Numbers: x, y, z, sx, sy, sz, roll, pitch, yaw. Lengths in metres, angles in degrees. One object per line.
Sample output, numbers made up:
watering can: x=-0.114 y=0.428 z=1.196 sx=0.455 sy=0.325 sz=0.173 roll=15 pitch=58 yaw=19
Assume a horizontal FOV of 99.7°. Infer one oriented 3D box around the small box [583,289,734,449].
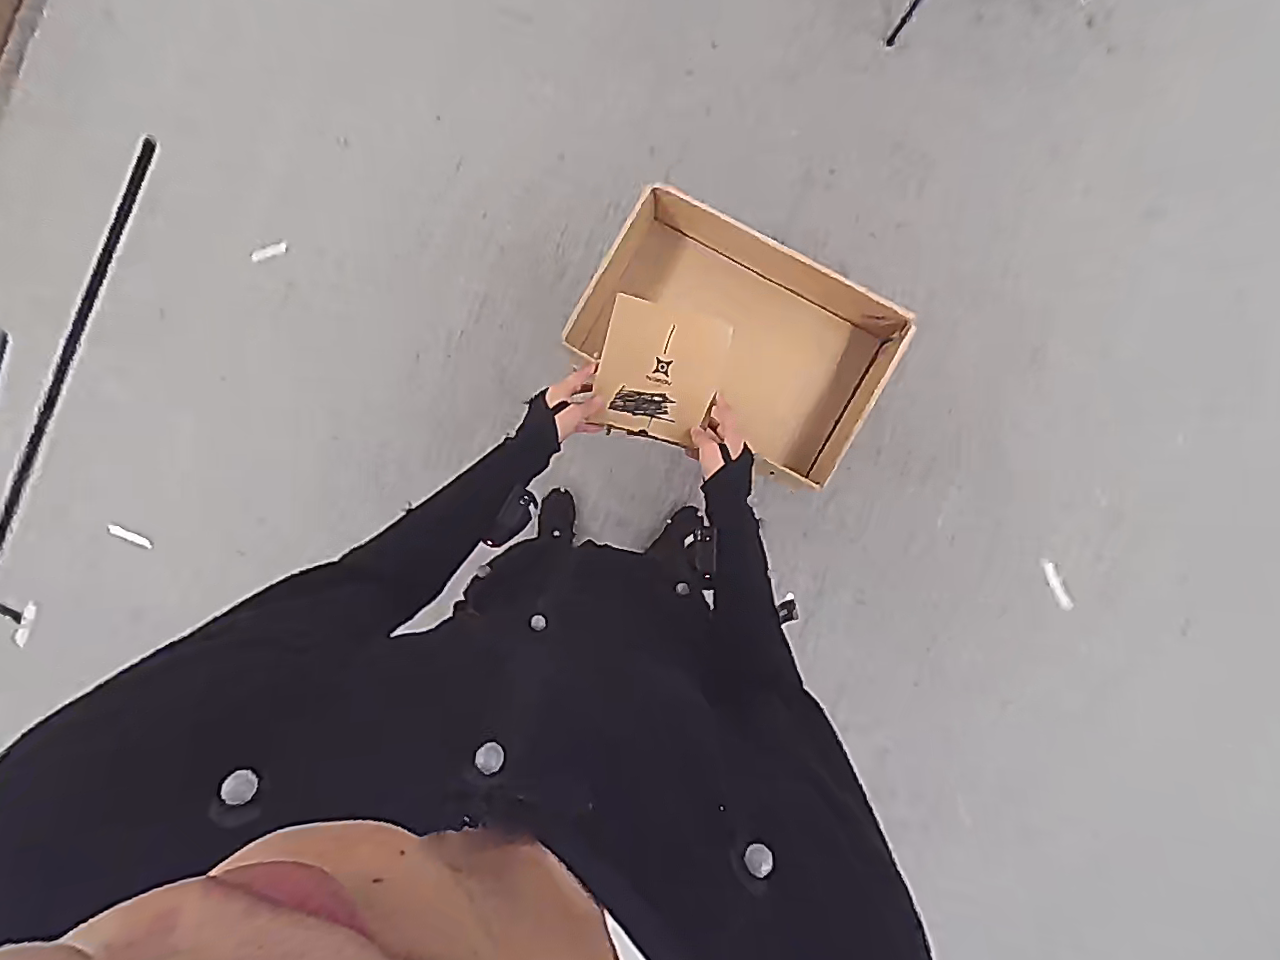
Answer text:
small box: x=0.022 y=-0.152 z=0.790 sx=0.168 sy=0.176 sz=0.179 roll=15 pitch=94 yaw=-4
